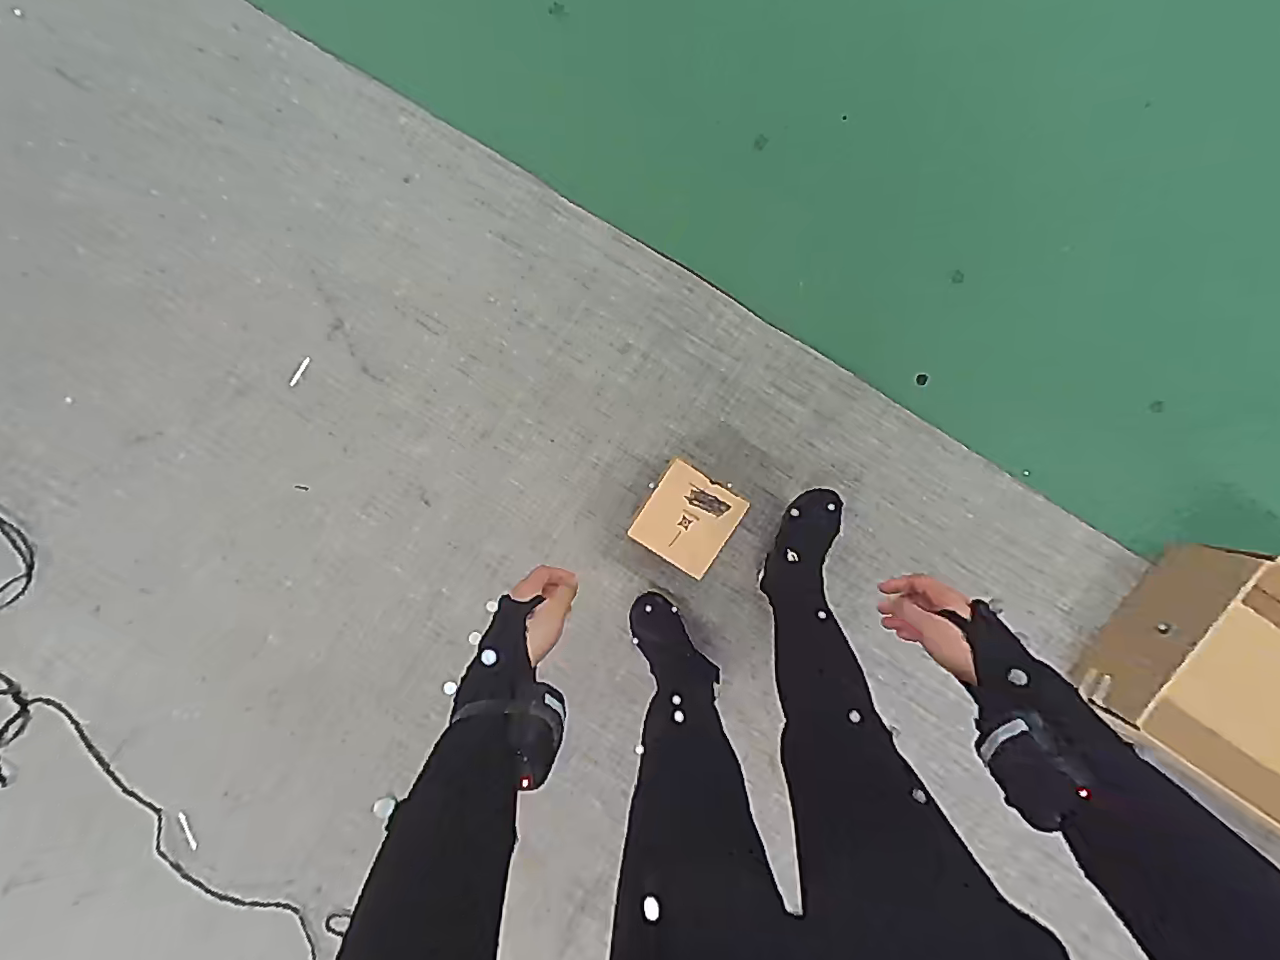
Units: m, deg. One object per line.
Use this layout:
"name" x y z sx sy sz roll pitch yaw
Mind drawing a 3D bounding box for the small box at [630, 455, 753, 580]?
"small box" 0.094 0.063 1.068 0.168 0.176 0.179 33 96 -1
